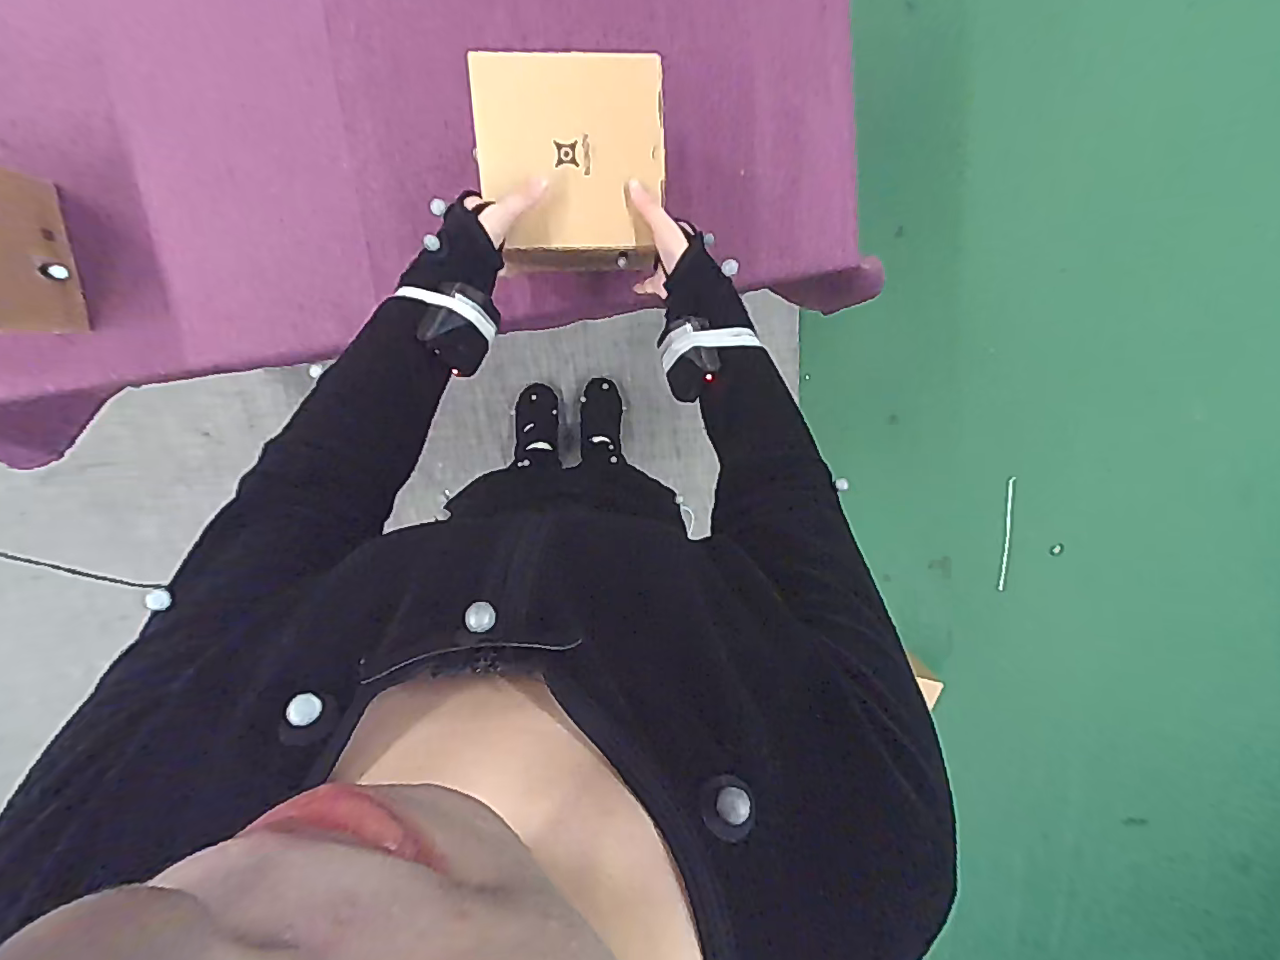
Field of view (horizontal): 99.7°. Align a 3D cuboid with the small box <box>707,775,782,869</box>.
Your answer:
[{"bbox_3d":[0.332,1.092,1.747,0.168,0.176,0.179,-24,105,1],"label":"small box"}]

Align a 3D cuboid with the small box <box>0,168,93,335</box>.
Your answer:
[{"bbox_3d":[-0.732,-0.234,0.545,0.179,0.176,0.168,-2,105,-6],"label":"small box"}]

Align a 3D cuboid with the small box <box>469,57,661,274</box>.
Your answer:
[{"bbox_3d":[-0.074,-0.322,0.588,0.179,0.176,0.168,-3,104,-5],"label":"small box"}]
